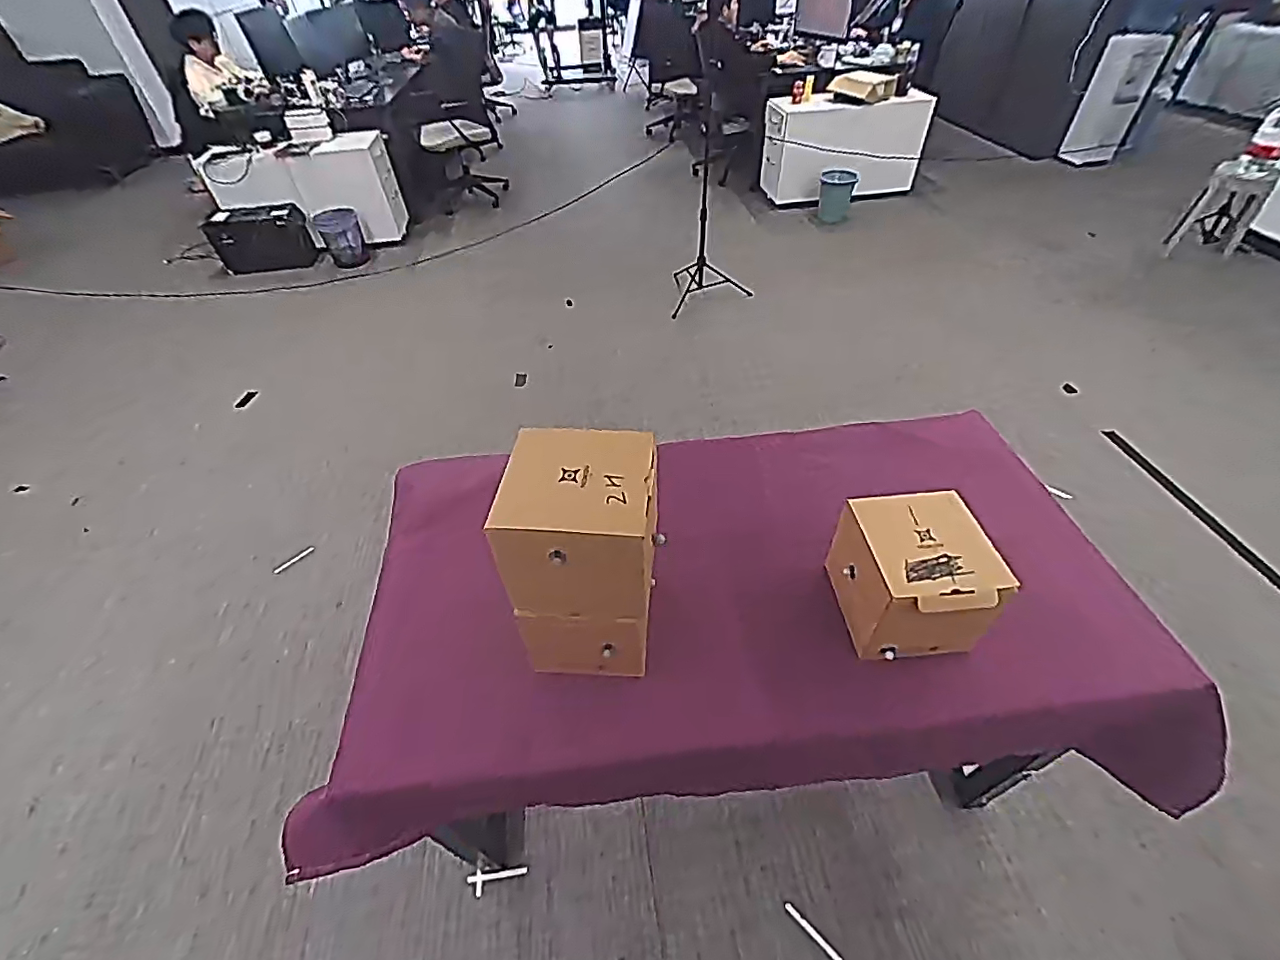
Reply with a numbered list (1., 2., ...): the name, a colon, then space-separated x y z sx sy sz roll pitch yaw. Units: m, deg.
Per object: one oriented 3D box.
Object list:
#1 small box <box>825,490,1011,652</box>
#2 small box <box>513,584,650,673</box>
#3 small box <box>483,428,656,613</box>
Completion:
1. small box: 0.391 0.139 0.798 0.168 0.176 0.179 -4 45 -1
2. small box: -0.073 0.168 0.800 0.168 0.176 0.179 2 46 4
3. small box: -0.073 0.053 0.683 0.179 0.176 0.168 3 47 5
